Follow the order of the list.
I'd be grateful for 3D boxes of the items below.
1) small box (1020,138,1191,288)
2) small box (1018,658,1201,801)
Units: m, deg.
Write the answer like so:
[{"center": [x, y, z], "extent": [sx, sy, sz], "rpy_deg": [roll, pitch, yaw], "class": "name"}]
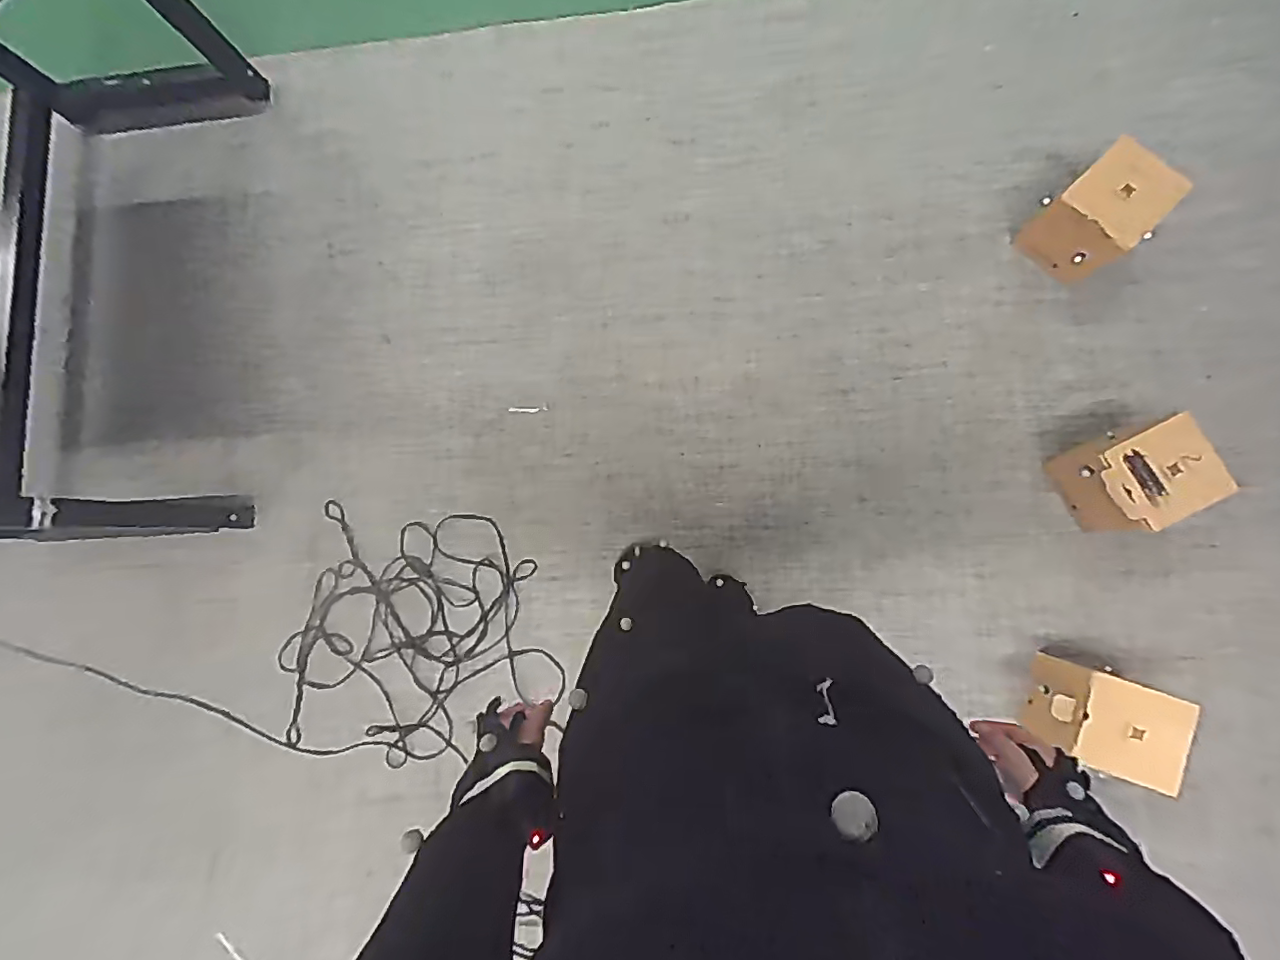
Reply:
[{"center": [0.926, -0.531, 1.102], "extent": [0.168, 0.176, 0.179], "rpy_deg": [45, 89, 7], "class": "small box"}, {"center": [0.864, 0.452, 1.013], "extent": [0.179, 0.176, 0.168], "rpy_deg": [18, 87, 8], "class": "small box"}]
